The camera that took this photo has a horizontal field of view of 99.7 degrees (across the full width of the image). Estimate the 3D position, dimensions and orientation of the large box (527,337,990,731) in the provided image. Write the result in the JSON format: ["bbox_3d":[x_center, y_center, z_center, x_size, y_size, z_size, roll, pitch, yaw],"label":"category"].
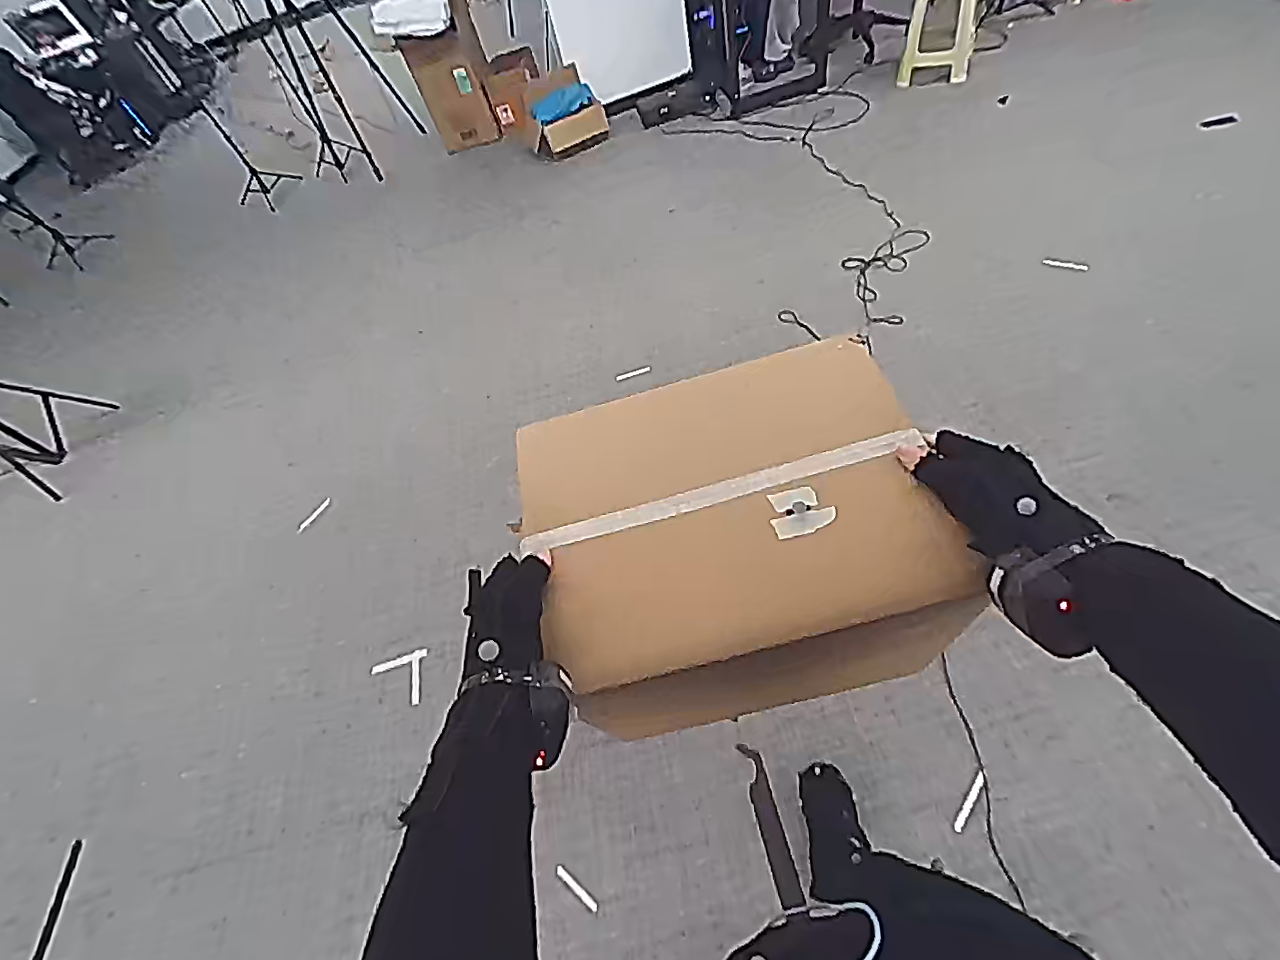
[{"bbox_3d":[0.112,0.087,0.679,0.408,0.320,0.320,-16,57,3],"label":"large box"}]
